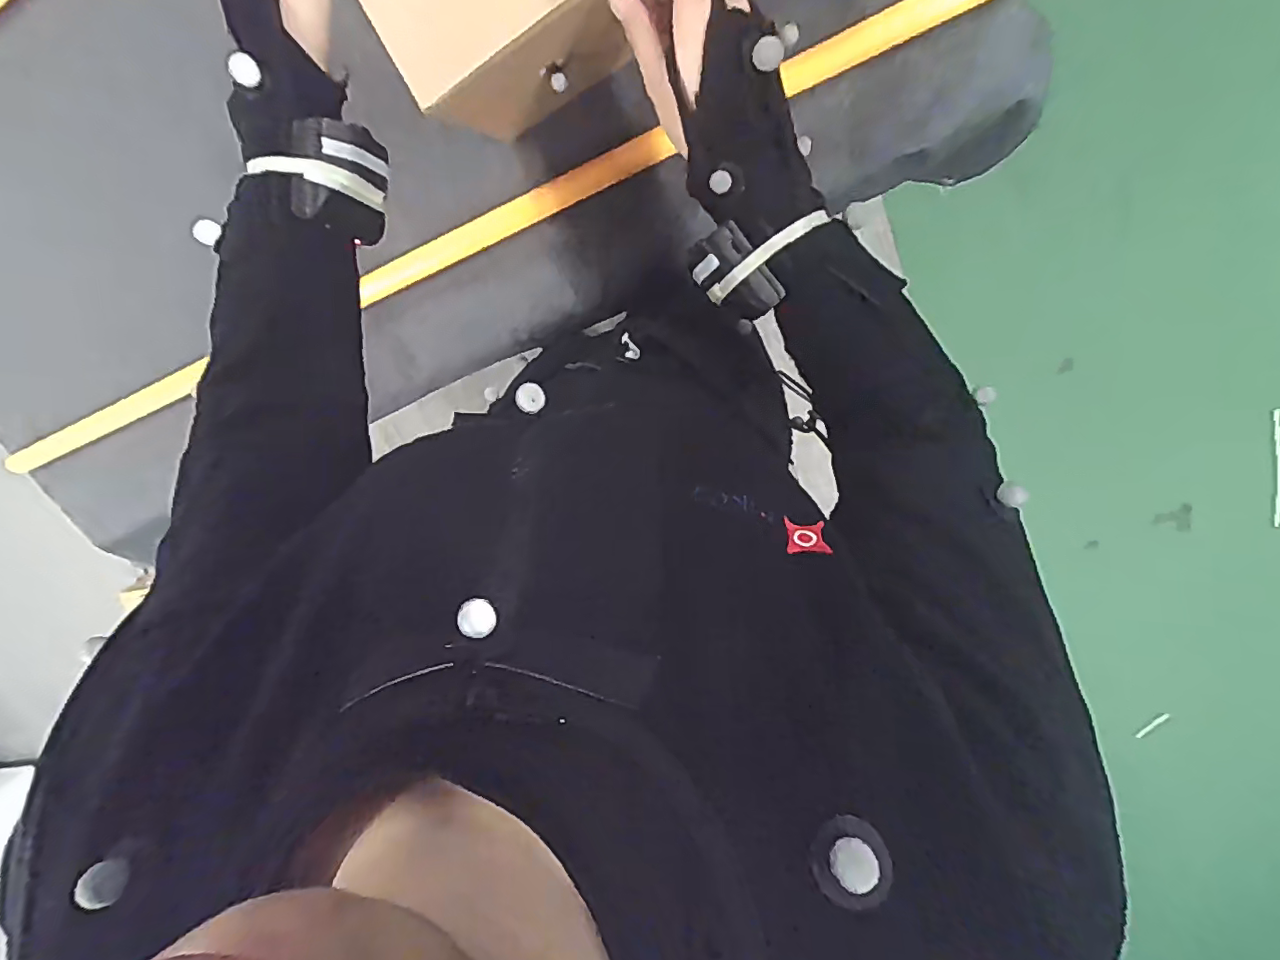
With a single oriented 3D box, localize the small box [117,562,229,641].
[{"bbox_3d":[-1.455,0.380,1.700,0.168,0.176,0.179,-8,113,11],"label":"small box"}]
